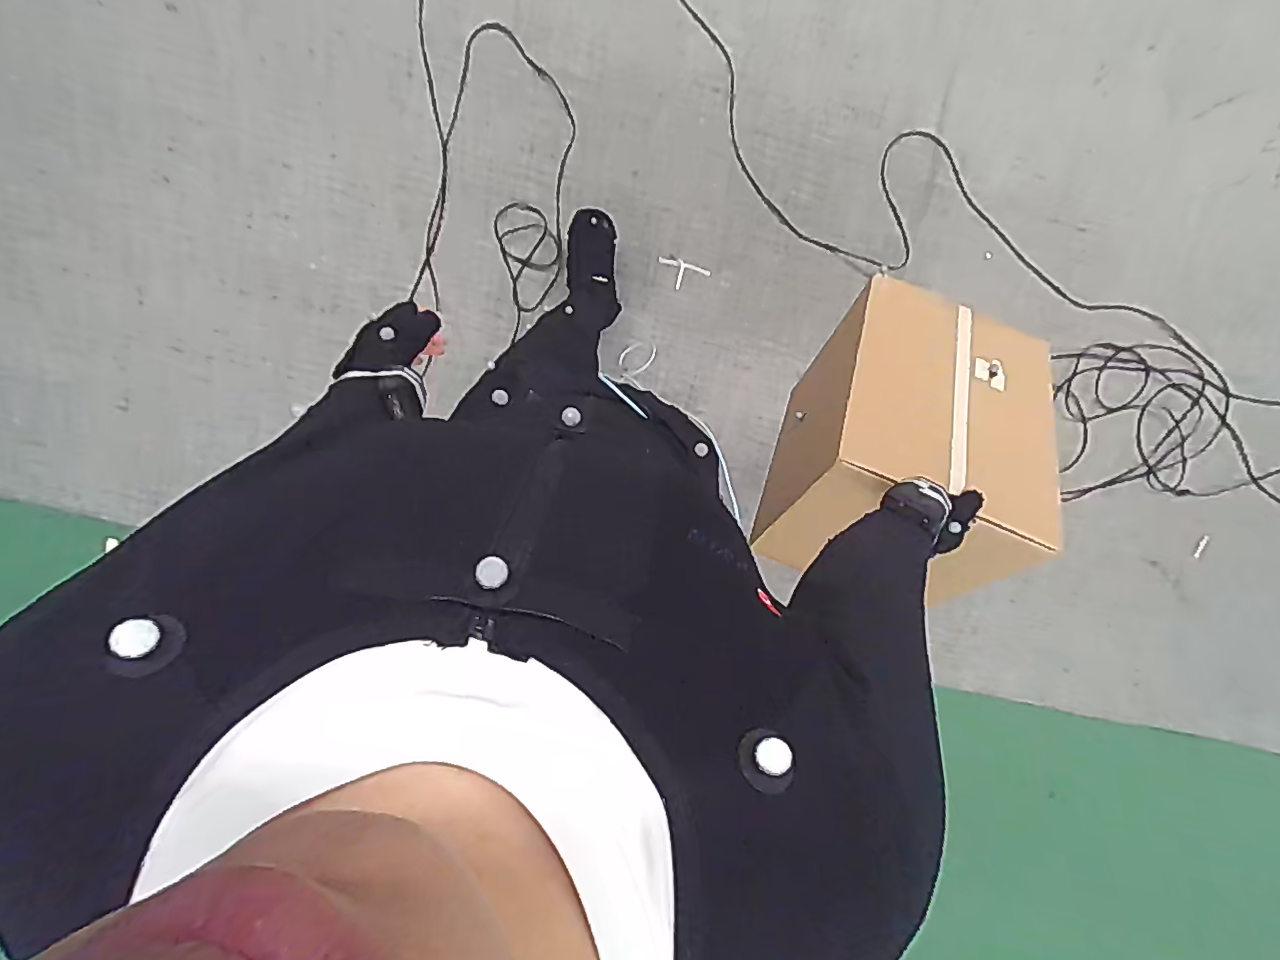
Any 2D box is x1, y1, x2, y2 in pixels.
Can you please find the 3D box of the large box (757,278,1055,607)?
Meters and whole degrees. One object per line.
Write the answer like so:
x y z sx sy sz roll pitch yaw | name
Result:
0.433 -0.052 0.927 0.320 0.320 0.408 24 60 0 | large box
